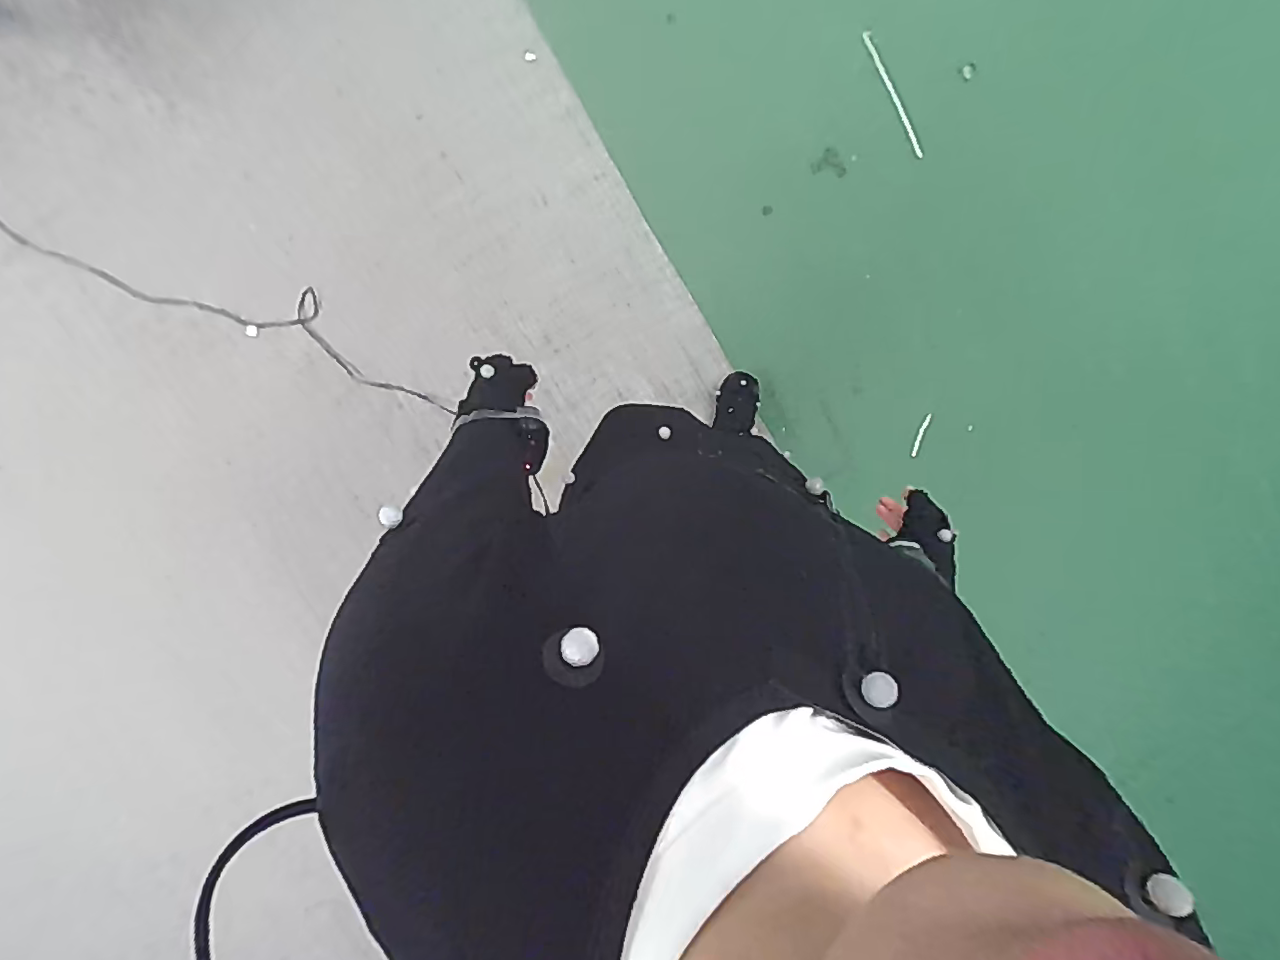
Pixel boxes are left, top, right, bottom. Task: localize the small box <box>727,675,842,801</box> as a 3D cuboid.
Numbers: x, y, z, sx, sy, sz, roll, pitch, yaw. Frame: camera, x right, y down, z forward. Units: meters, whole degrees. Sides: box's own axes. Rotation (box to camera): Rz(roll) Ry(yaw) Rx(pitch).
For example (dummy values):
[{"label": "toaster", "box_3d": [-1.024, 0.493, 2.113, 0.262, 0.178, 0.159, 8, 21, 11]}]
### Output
[{"label": "small box", "box_3d": [0.324, 0.585, 1.257, 0.168, 0.176, 0.179, -43, 98, 6]}]
